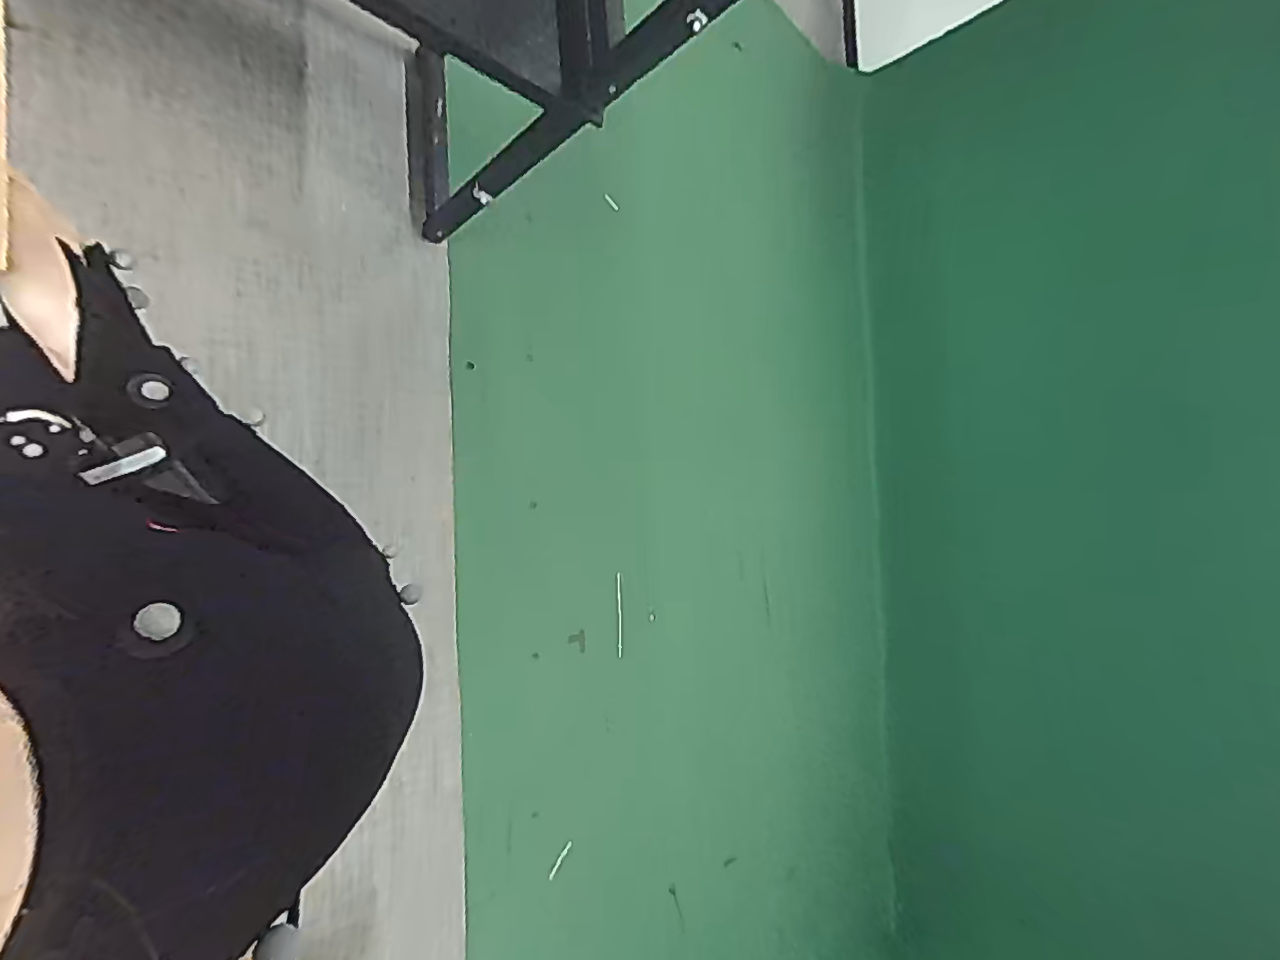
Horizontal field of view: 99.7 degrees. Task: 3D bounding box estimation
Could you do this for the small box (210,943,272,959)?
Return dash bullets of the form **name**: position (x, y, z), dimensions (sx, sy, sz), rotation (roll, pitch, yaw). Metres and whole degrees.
- **small box**: position (-0.880, 1.130, 1.136), dimensions (0.168, 0.176, 0.179), rotation (7, 82, -45)
